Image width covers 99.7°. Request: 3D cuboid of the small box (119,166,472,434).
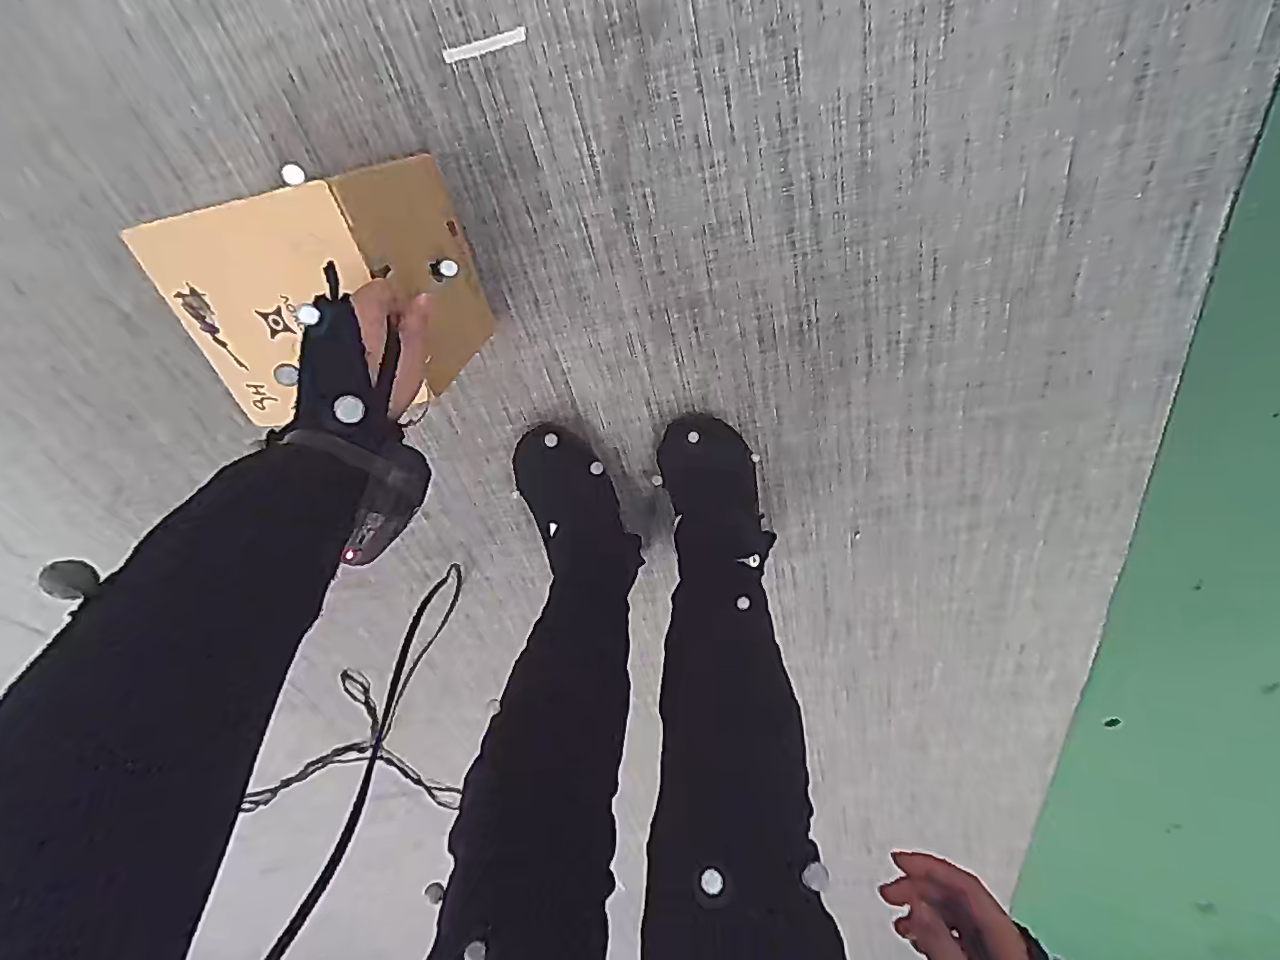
[{"bbox_3d":[-0.267,-0.162,0.478,0.179,0.176,0.168,-7,126,9],"label":"small box"}]
